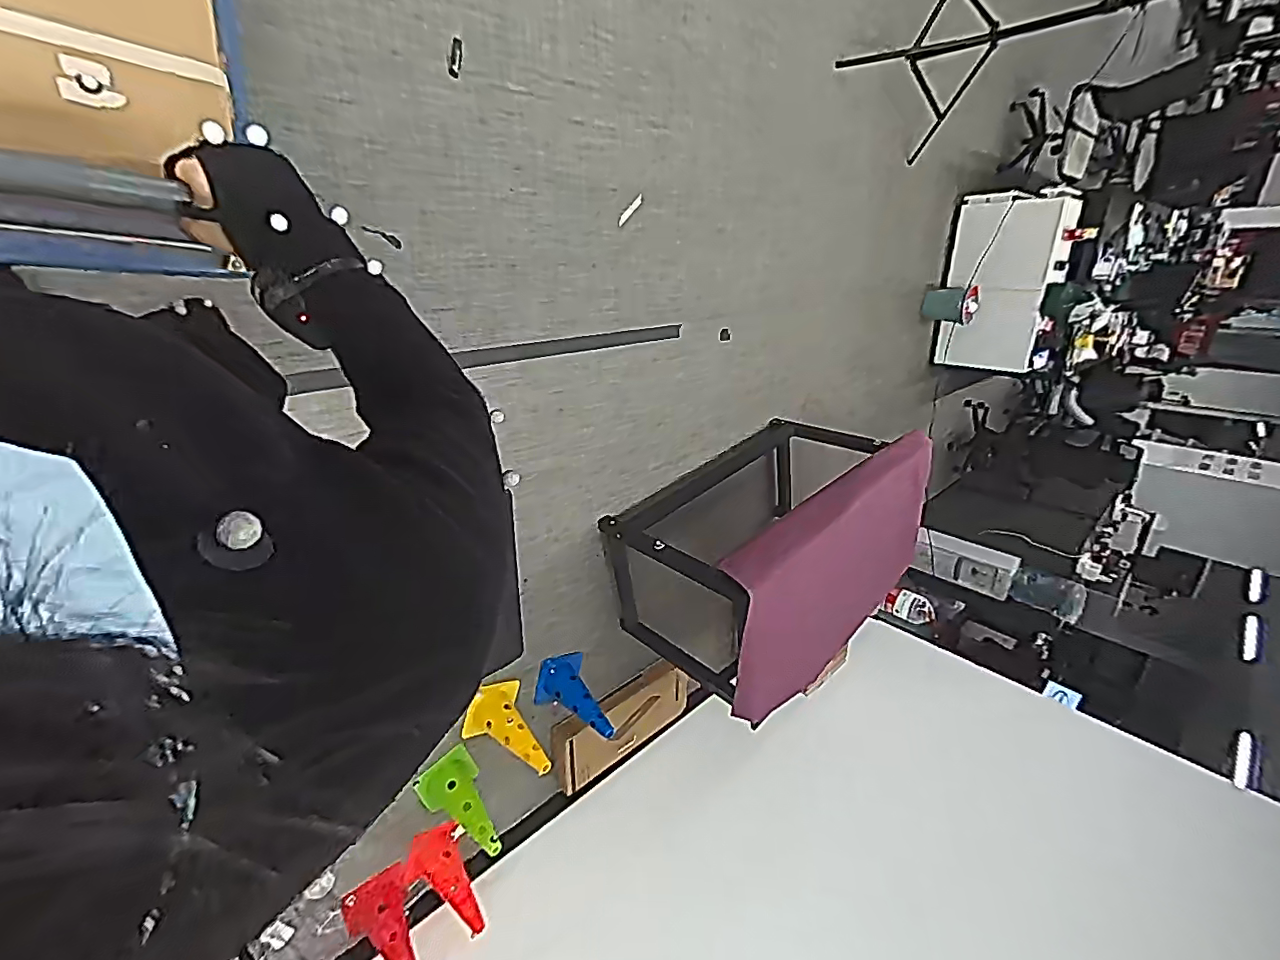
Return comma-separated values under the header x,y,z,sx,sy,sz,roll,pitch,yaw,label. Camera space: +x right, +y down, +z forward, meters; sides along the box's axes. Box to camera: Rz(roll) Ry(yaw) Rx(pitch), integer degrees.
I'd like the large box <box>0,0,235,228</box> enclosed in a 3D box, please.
x,y,z,sx,sy,sz,roll,pitch,yaw,label
-0.815,-0.531,0.695,0.408,0.320,0.320,-12,113,-43,large box
